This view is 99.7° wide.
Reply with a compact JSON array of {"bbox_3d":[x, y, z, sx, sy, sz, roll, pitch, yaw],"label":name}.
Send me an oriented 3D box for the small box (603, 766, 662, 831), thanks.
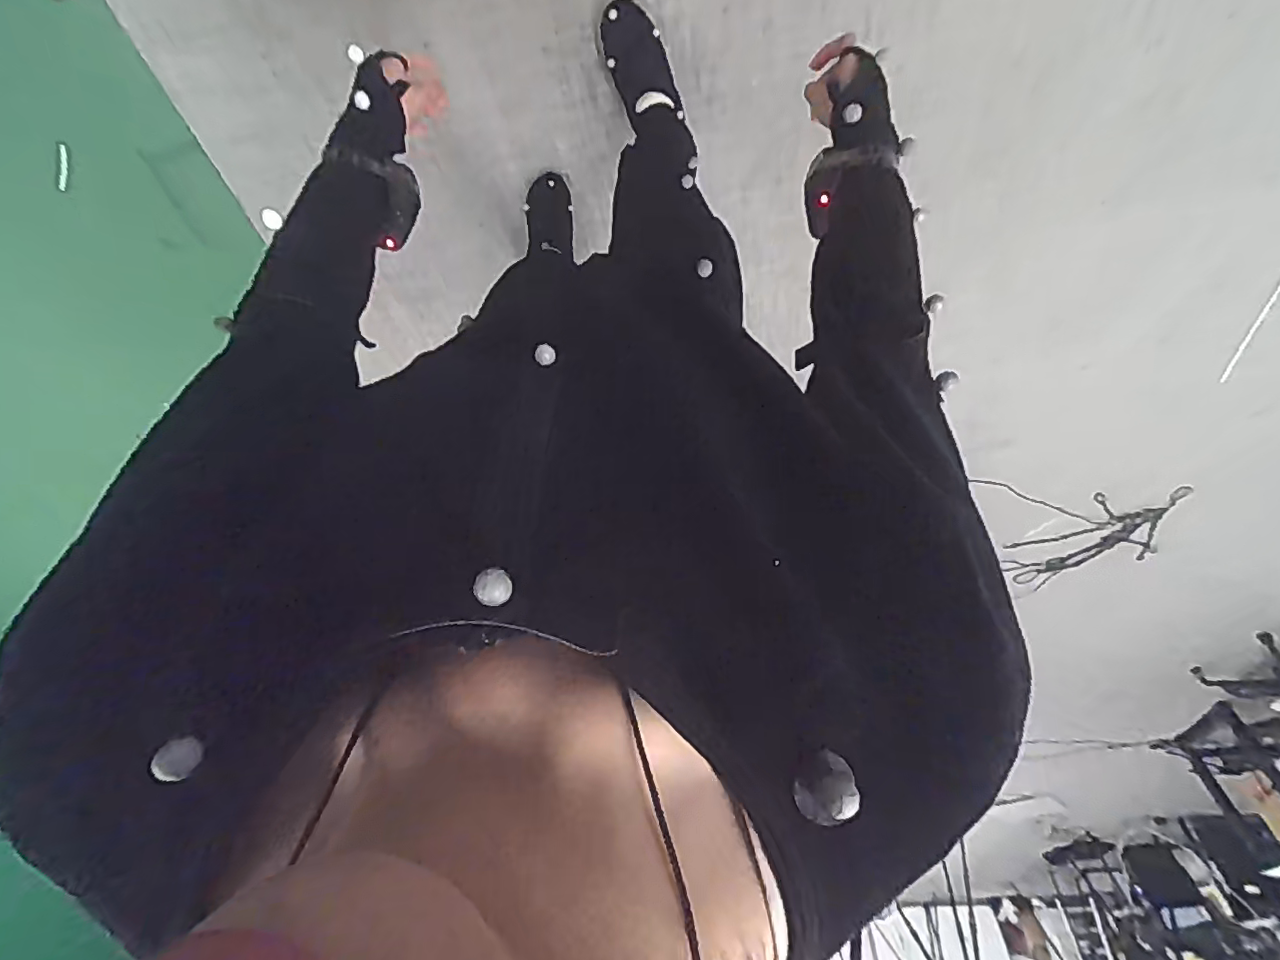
[{"bbox_3d":[-0.021,1.112,1.882,0.168,0.176,0.179,-12,134,12],"label":"small box"}]
